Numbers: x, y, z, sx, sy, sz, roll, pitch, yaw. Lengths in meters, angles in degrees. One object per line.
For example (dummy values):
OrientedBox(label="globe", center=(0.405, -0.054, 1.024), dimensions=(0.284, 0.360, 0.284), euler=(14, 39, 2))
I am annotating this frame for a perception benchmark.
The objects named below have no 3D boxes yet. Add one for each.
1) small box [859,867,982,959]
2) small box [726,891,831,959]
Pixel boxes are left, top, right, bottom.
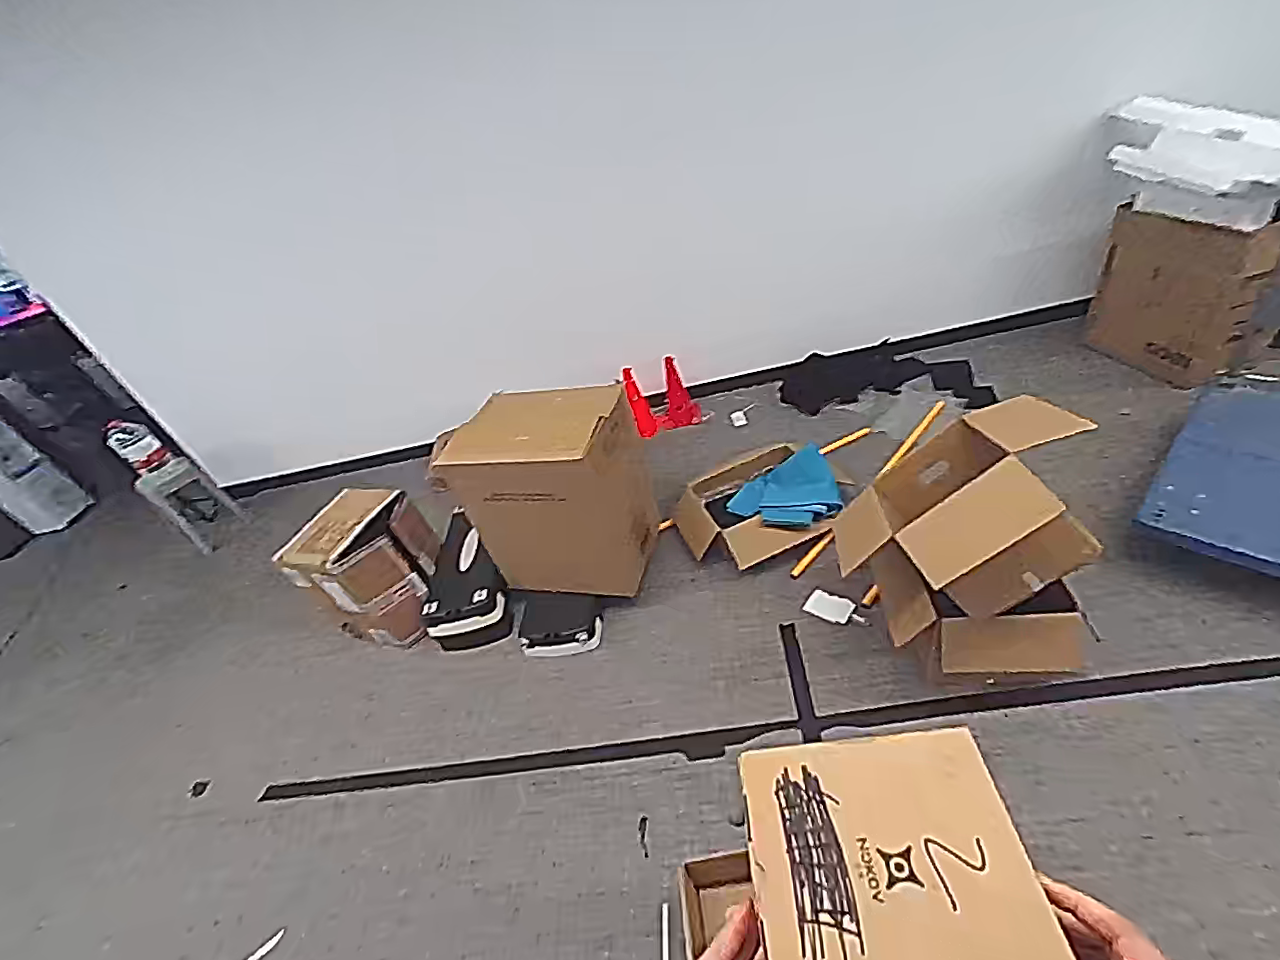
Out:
OrientedBox(label="small box", center=(0.528, 0.876, 1.027), dimensions=(0.168, 0.176, 0.179), euler=(-14, 37, 6))
OrientedBox(label="small box", center=(0.276, 0.935, 1.049), dimensions=(0.179, 0.176, 0.168), euler=(-14, 36, 3))
